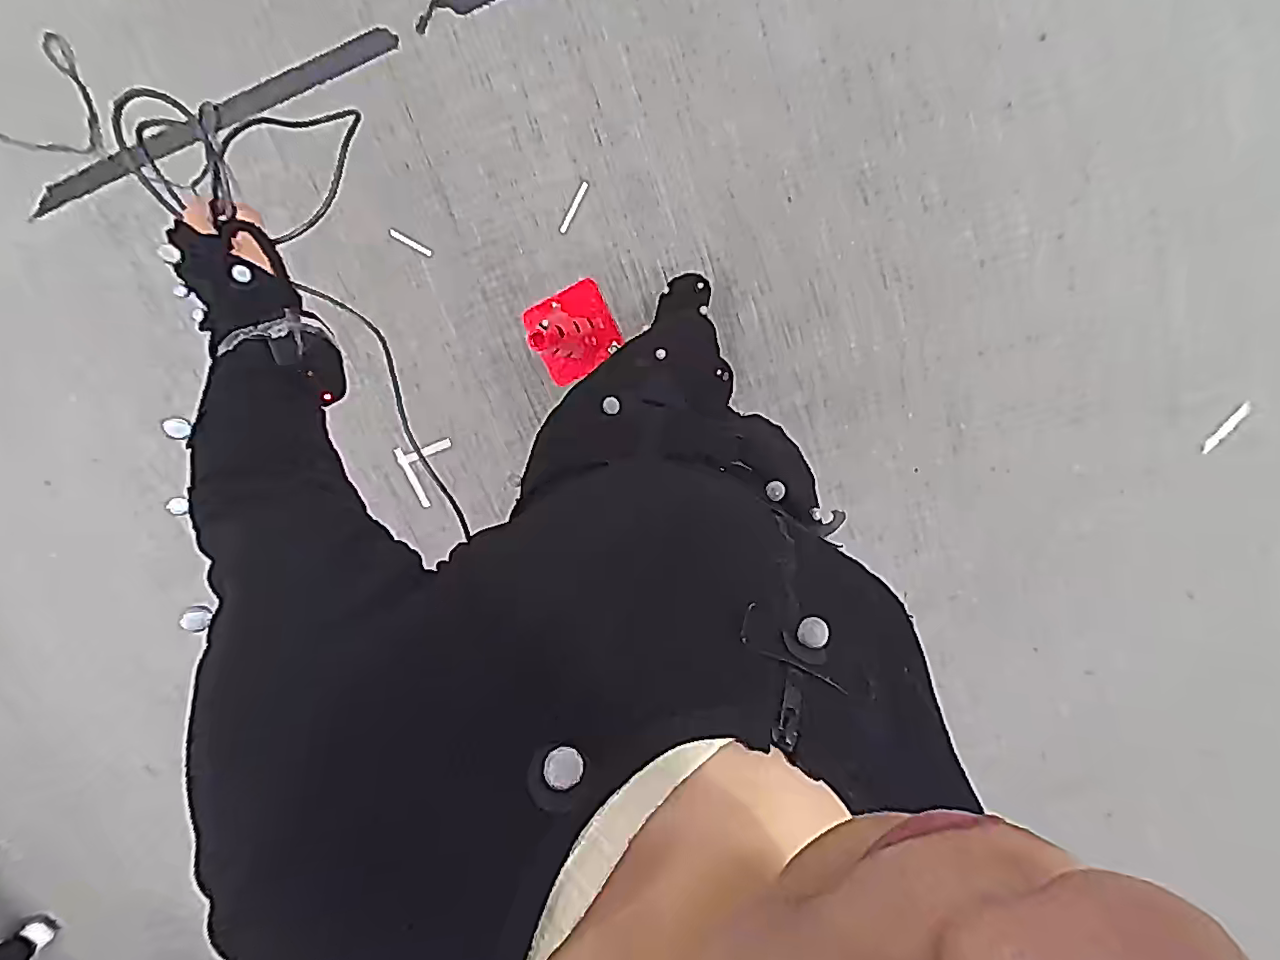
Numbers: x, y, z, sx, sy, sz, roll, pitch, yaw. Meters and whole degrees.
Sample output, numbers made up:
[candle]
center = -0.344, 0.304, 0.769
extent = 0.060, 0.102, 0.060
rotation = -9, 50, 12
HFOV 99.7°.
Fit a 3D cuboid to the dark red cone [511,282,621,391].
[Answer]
[dark red cone]
center = -0.180, -0.289, 1.102
extent = 0.202, 0.394, 0.201
rotation = -25, 101, 11
